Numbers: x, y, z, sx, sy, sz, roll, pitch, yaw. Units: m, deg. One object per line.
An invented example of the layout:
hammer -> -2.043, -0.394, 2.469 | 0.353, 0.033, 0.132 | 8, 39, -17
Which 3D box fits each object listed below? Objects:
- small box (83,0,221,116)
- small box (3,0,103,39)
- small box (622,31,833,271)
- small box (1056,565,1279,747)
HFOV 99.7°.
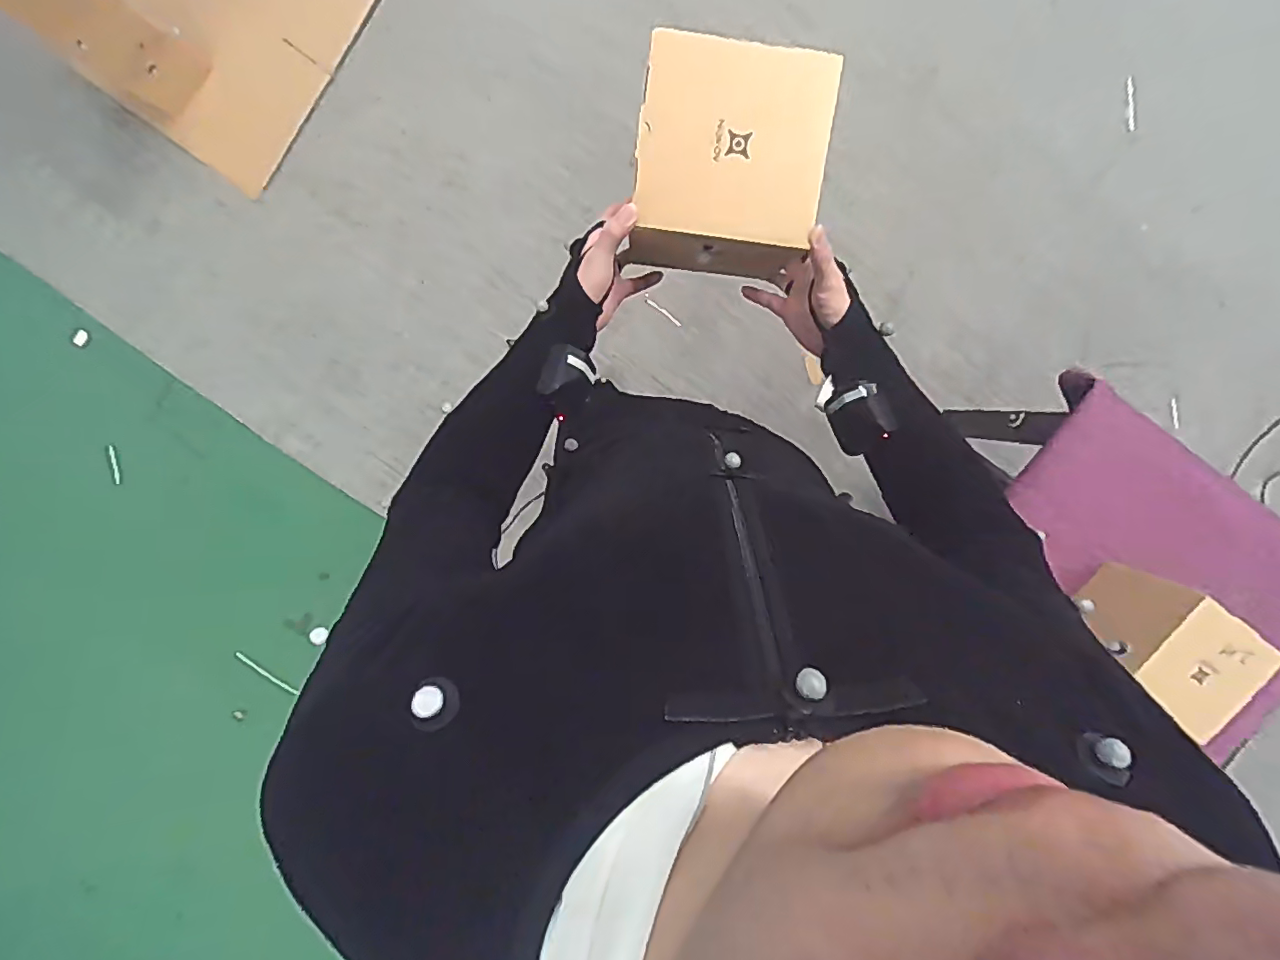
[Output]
small box -> -1.250, -1.103, 1.402 | 0.168, 0.176, 0.179 | 41, 96, -5
small box -> -1.238, -1.050, 1.079 | 0.168, 0.176, 0.179 | 43, 96, -6
small box -> 0.080, -0.327, 0.575 | 0.179, 0.176, 0.168 | 6, 102, 0
small box -> 0.813, 0.264, 0.851 | 0.168, 0.176, 0.179 | 36, 97, -5
